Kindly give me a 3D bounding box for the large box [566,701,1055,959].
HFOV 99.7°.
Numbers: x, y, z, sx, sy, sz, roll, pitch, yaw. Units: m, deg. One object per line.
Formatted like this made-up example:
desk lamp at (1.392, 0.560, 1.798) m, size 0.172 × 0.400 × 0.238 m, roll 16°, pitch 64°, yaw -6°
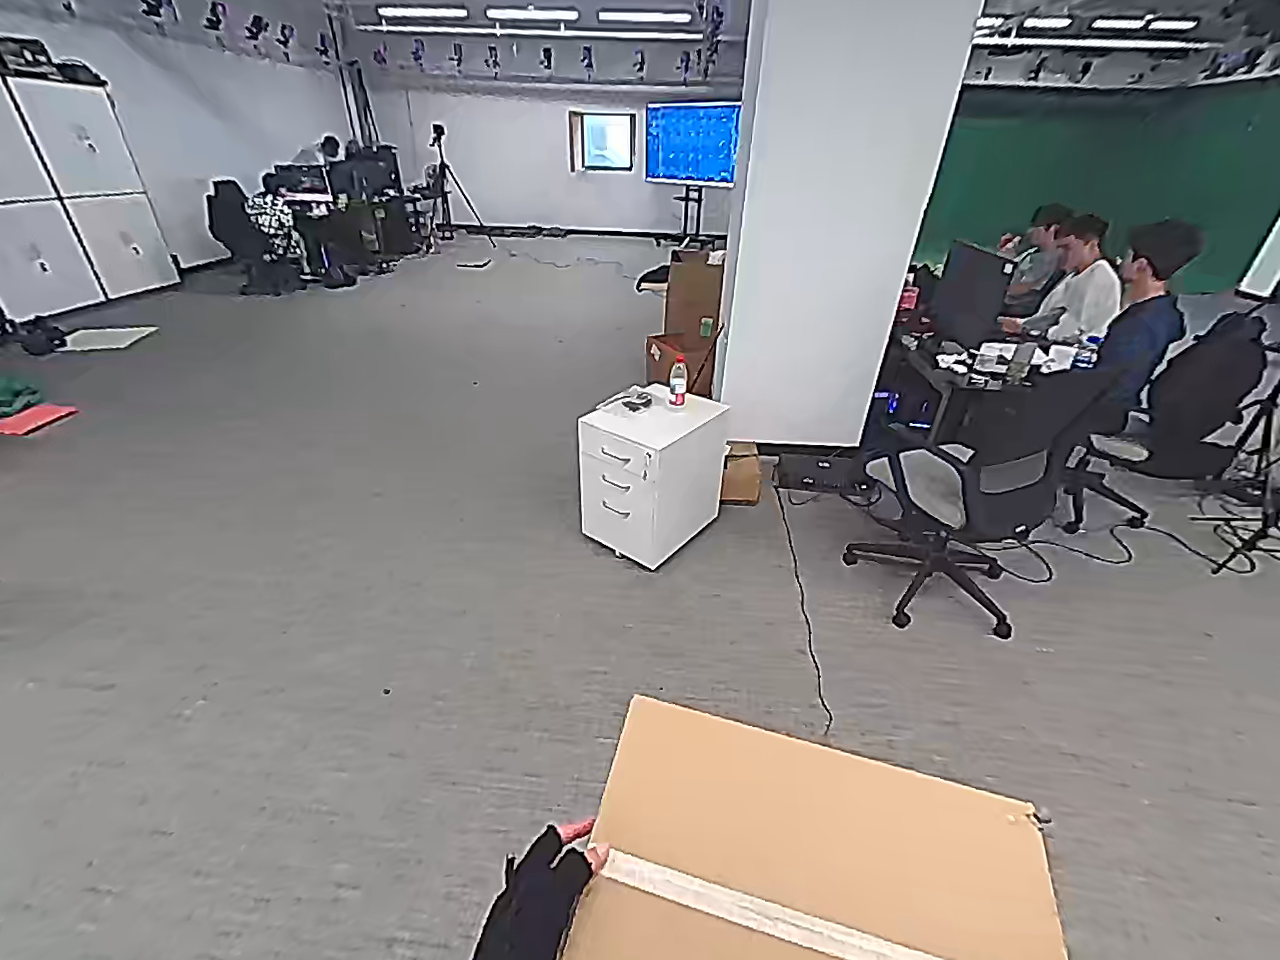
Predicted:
large box at (0.147, 0.493, 0.574) m, size 0.408 × 0.320 × 0.320 m, roll 12°, pitch 46°, yaw 11°
